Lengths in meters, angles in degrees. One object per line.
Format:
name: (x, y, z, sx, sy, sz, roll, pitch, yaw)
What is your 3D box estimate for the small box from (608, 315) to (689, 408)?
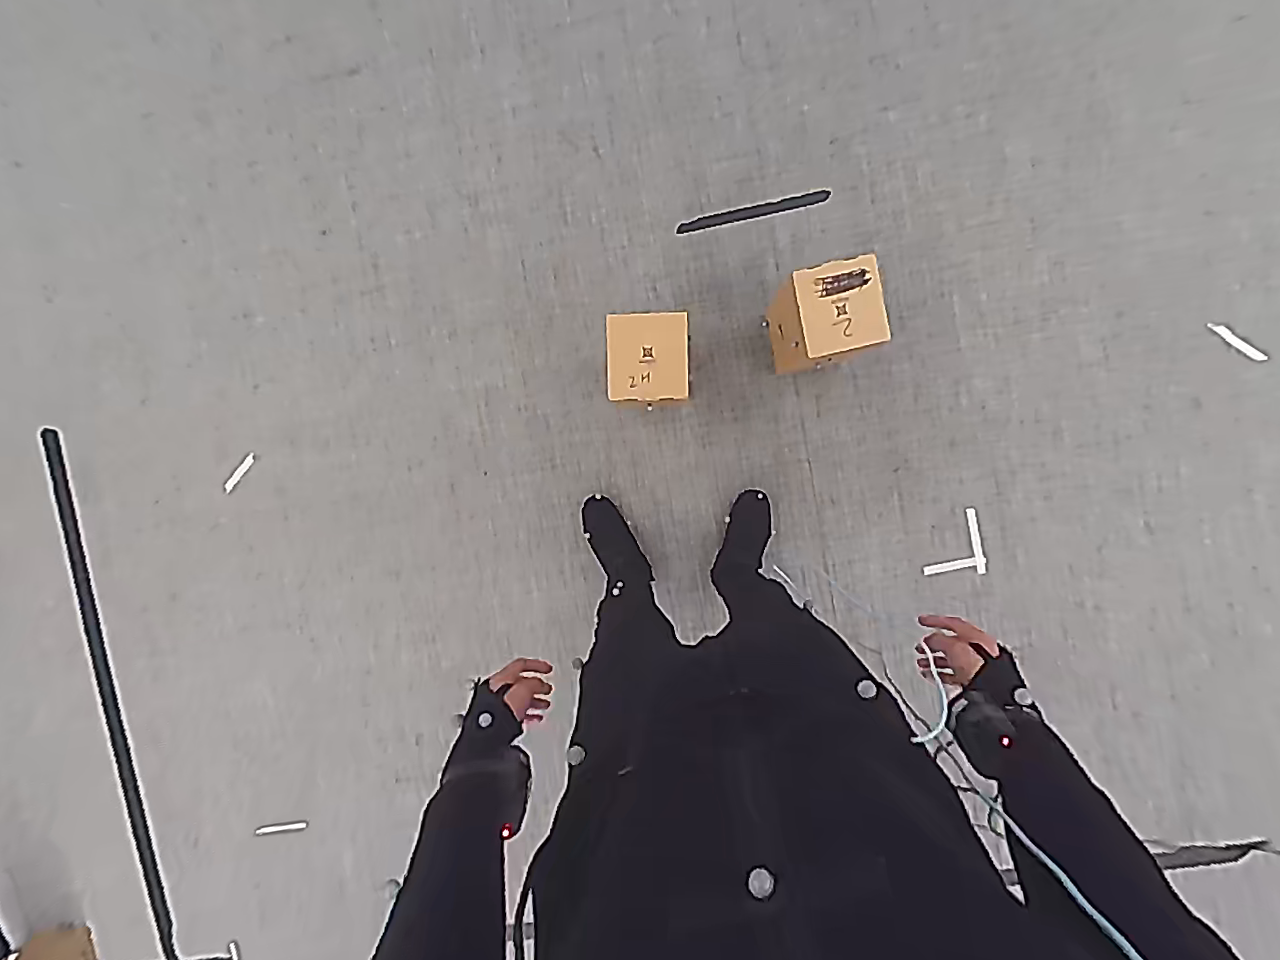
small box: (0.021, -0.251, 1.175, 0.168, 0.176, 0.179, 0, 94, 4)

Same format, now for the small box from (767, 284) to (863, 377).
small box: (0.413, -0.355, 1.312, 0.179, 0.176, 0.168, -11, 93, 3)
